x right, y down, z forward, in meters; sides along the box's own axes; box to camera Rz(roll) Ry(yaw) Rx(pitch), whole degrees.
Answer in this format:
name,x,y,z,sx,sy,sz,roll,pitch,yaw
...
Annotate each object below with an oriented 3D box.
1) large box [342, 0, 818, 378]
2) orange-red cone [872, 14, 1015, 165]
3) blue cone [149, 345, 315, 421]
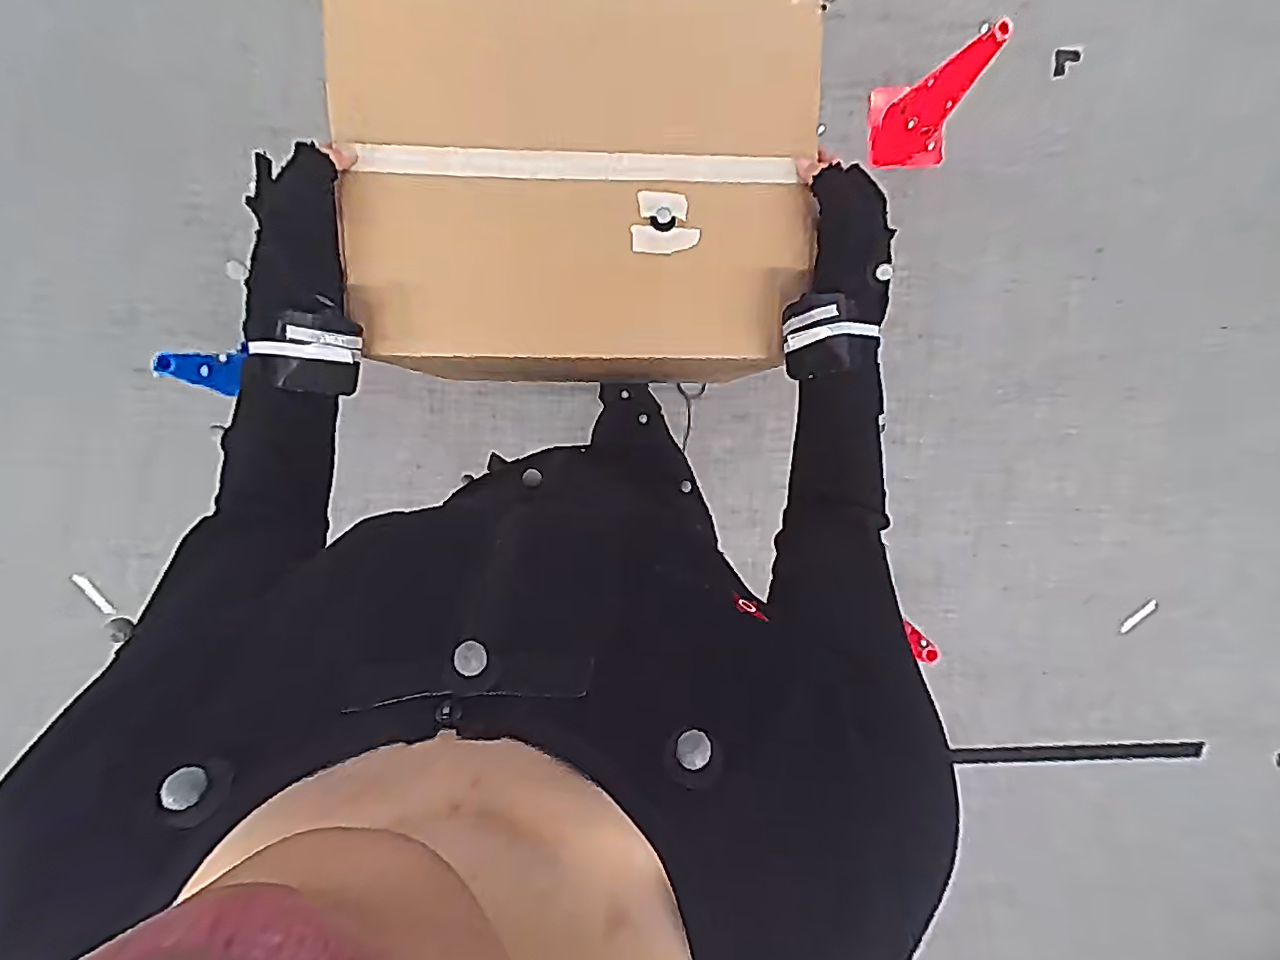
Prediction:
name,x,y,z,sx,sy,sz,roll,pitch,yaw
large box,-0.056,-0.287,0.611,0.408,0.320,0.320,-1,96,-5
orange-red cone,0.721,-0.930,1.259,0.198,0.360,0.199,-2,93,-4
blue cone,-0.927,-0.235,1.227,0.192,0.380,0.193,4,94,-3
